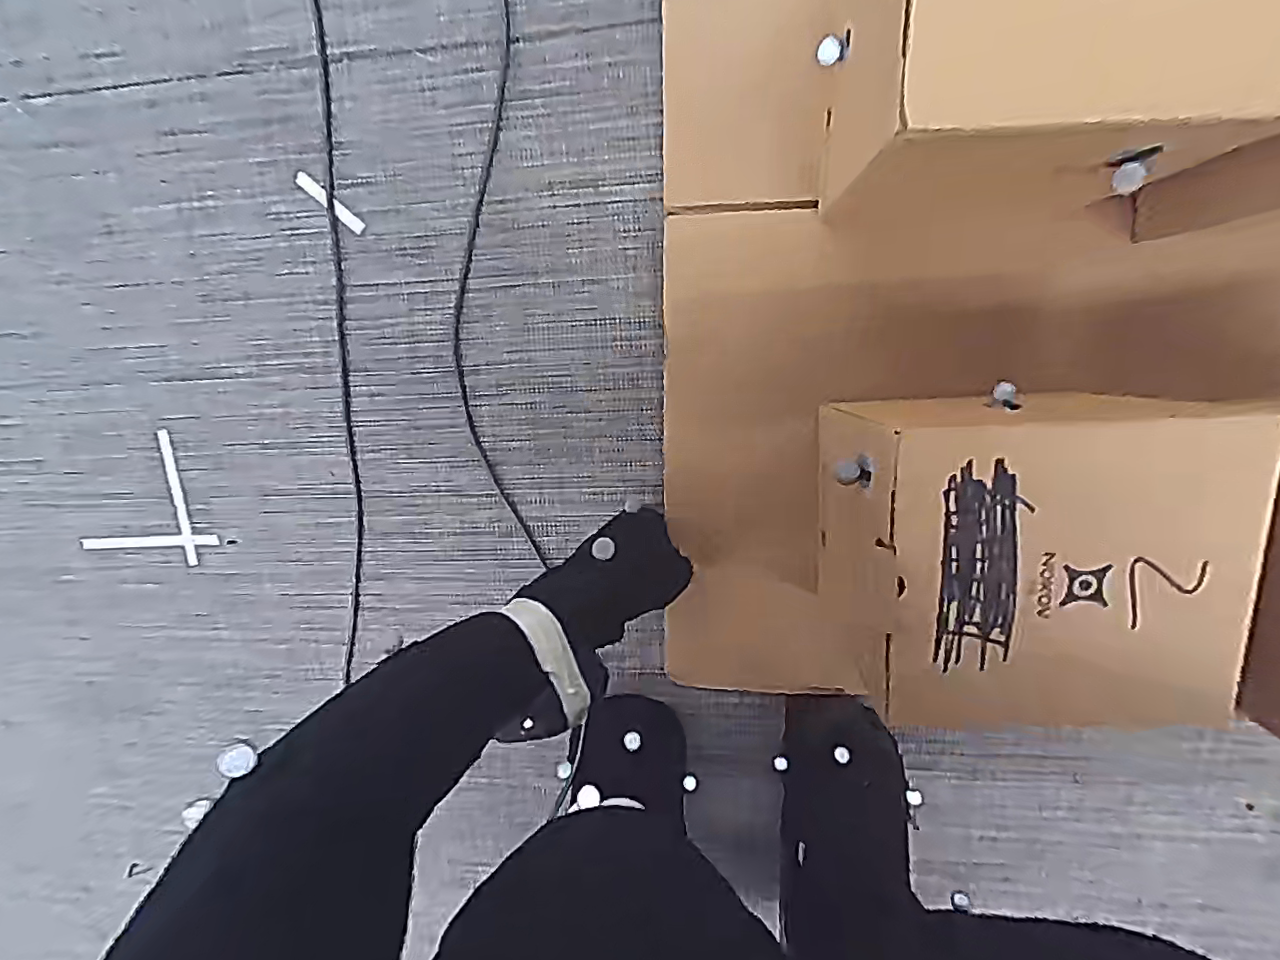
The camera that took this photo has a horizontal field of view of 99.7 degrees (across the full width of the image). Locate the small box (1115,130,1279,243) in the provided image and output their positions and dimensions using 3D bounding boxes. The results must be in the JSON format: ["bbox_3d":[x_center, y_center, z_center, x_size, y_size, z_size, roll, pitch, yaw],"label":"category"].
[{"bbox_3d":[0.407,-0.237,0.281,0.179,0.176,0.168,-7,102,9],"label":"small box"}]

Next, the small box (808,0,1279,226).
[{"bbox_3d":[0.205,-0.251,0.303,0.179,0.176,0.168,2,103,6],"label":"small box"}]
